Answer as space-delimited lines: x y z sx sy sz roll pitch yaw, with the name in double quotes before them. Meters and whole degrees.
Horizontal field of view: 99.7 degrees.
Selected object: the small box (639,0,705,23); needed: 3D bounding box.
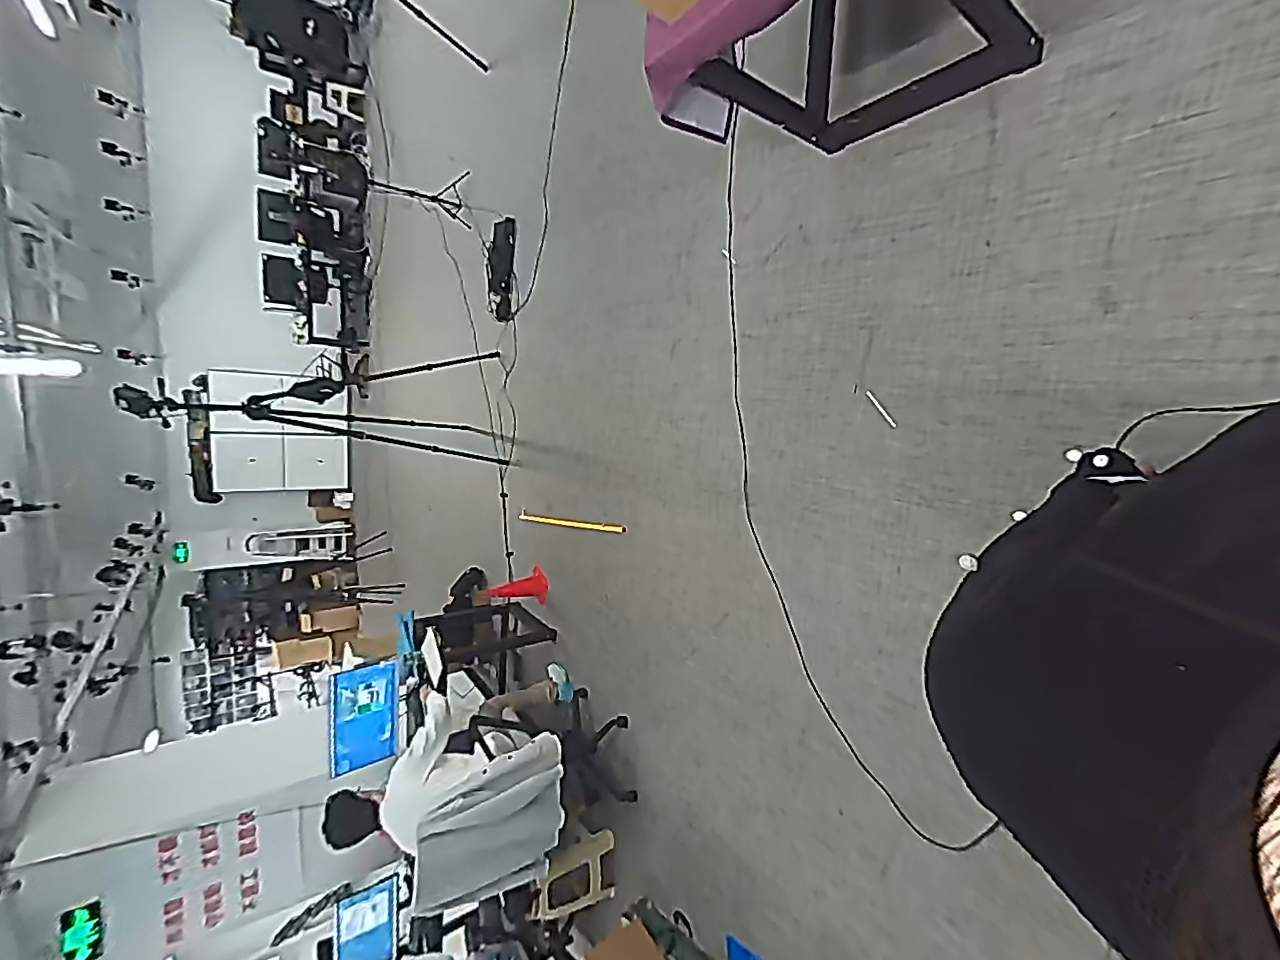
"small box" 0.067 -1.097 1.106 0.179 0.176 0.168 11 101 52
